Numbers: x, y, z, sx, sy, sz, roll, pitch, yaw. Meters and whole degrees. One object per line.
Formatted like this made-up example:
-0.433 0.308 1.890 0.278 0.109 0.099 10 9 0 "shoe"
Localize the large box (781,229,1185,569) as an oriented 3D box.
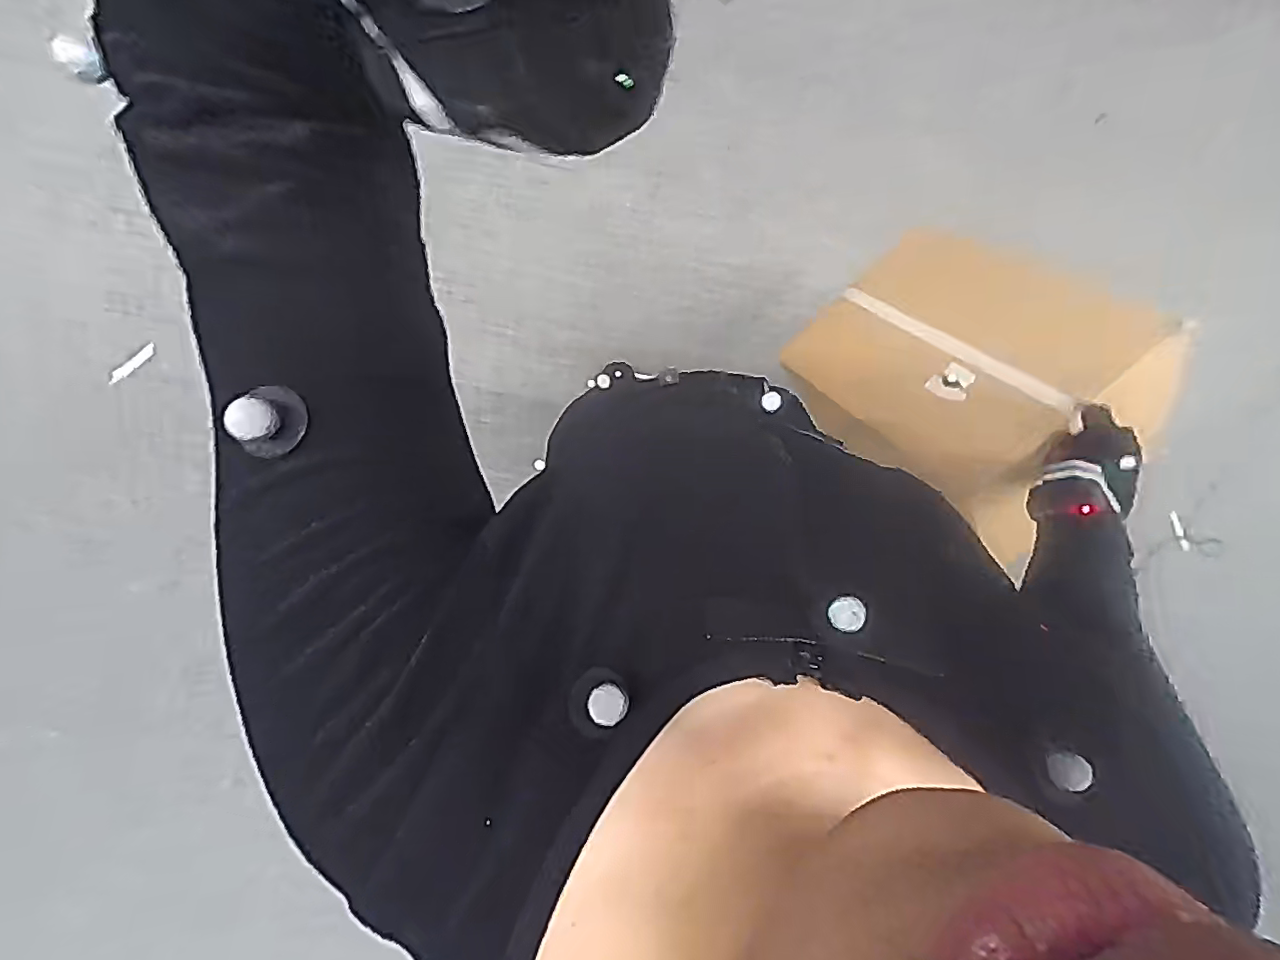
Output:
0.512 -0.133 0.885 0.320 0.408 0.320 -43 137 8 "large box"
